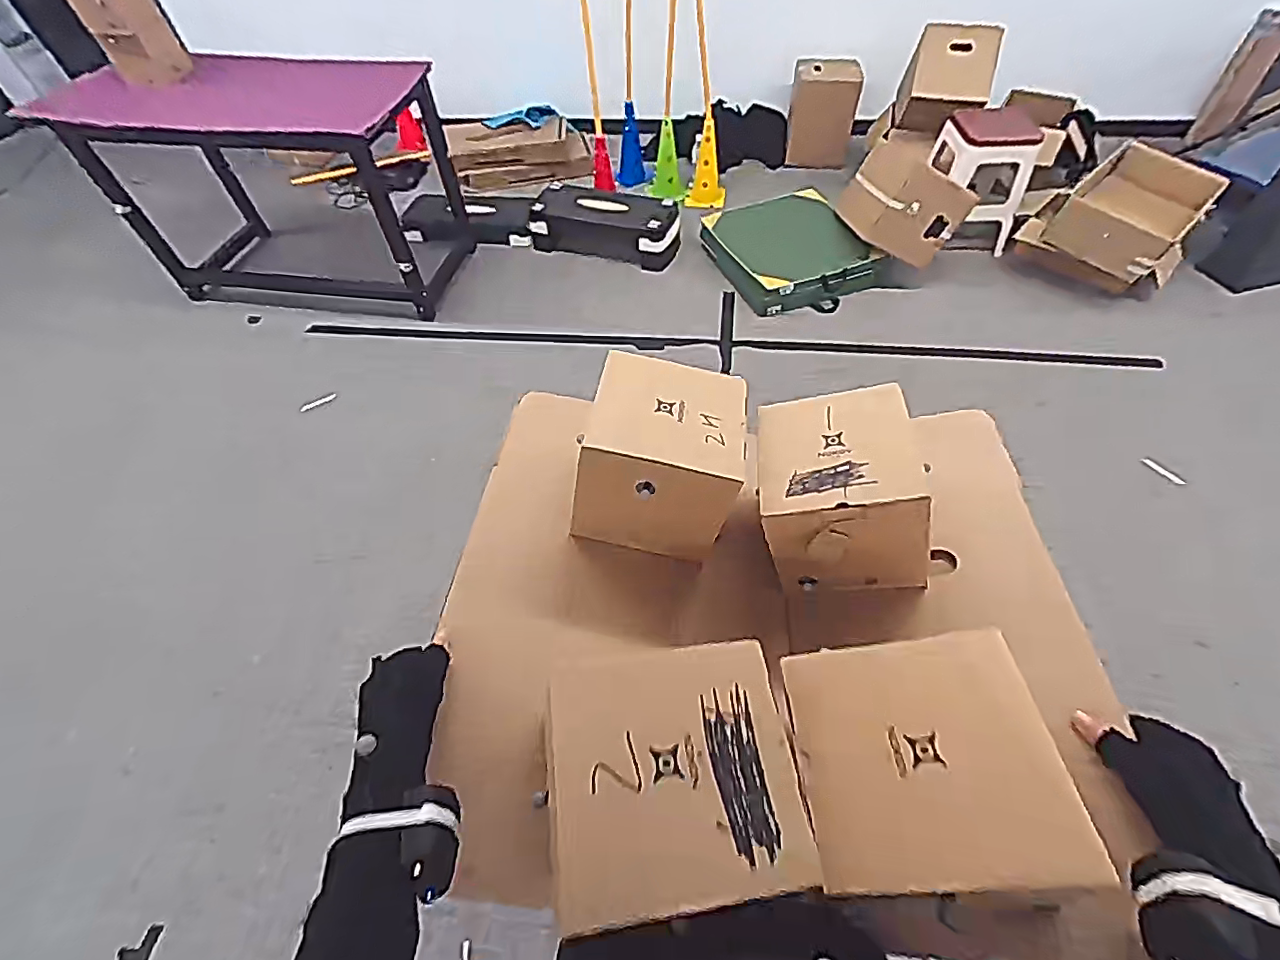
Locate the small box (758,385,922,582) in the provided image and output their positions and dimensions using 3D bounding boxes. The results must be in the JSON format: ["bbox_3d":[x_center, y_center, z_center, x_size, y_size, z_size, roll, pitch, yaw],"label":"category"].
[{"bbox_3d":[0.245,0.014,0.669,0.168,0.176,0.179,-8,45,20],"label":"small box"}]
